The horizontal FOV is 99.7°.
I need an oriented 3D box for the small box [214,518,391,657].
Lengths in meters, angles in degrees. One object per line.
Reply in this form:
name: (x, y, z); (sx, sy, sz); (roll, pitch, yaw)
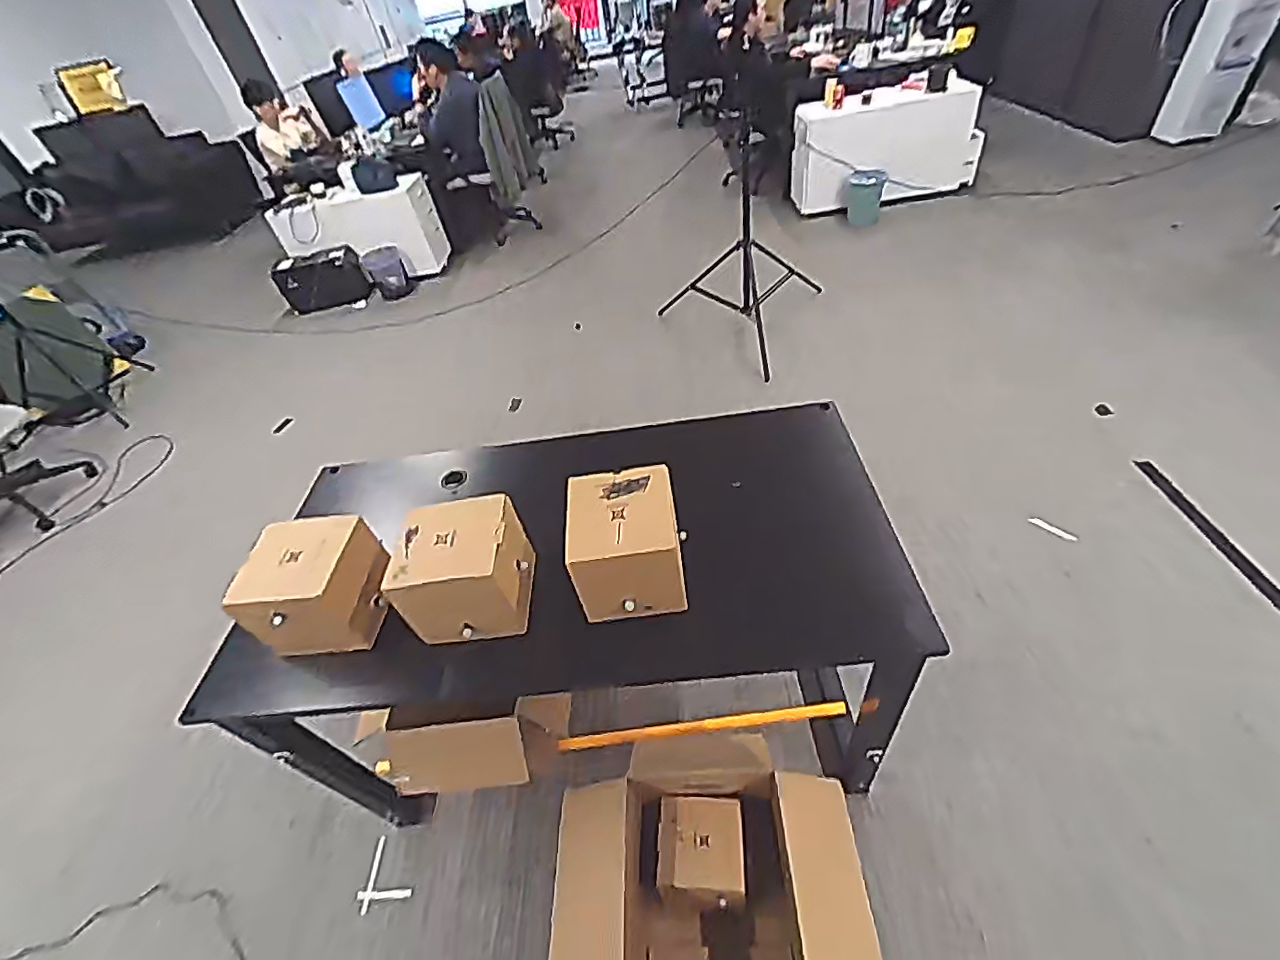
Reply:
small box: (-0.548, 0.187, 0.919); (0.179, 0.176, 0.168); (-5, 44, 5)

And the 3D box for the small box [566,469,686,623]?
small box: (-0.019, 0.108, 0.886); (0.168, 0.176, 0.179); (-9, 44, 4)

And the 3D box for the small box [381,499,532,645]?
small box: (-0.287, 0.155, 0.897); (0.179, 0.176, 0.168); (-7, 43, 3)
